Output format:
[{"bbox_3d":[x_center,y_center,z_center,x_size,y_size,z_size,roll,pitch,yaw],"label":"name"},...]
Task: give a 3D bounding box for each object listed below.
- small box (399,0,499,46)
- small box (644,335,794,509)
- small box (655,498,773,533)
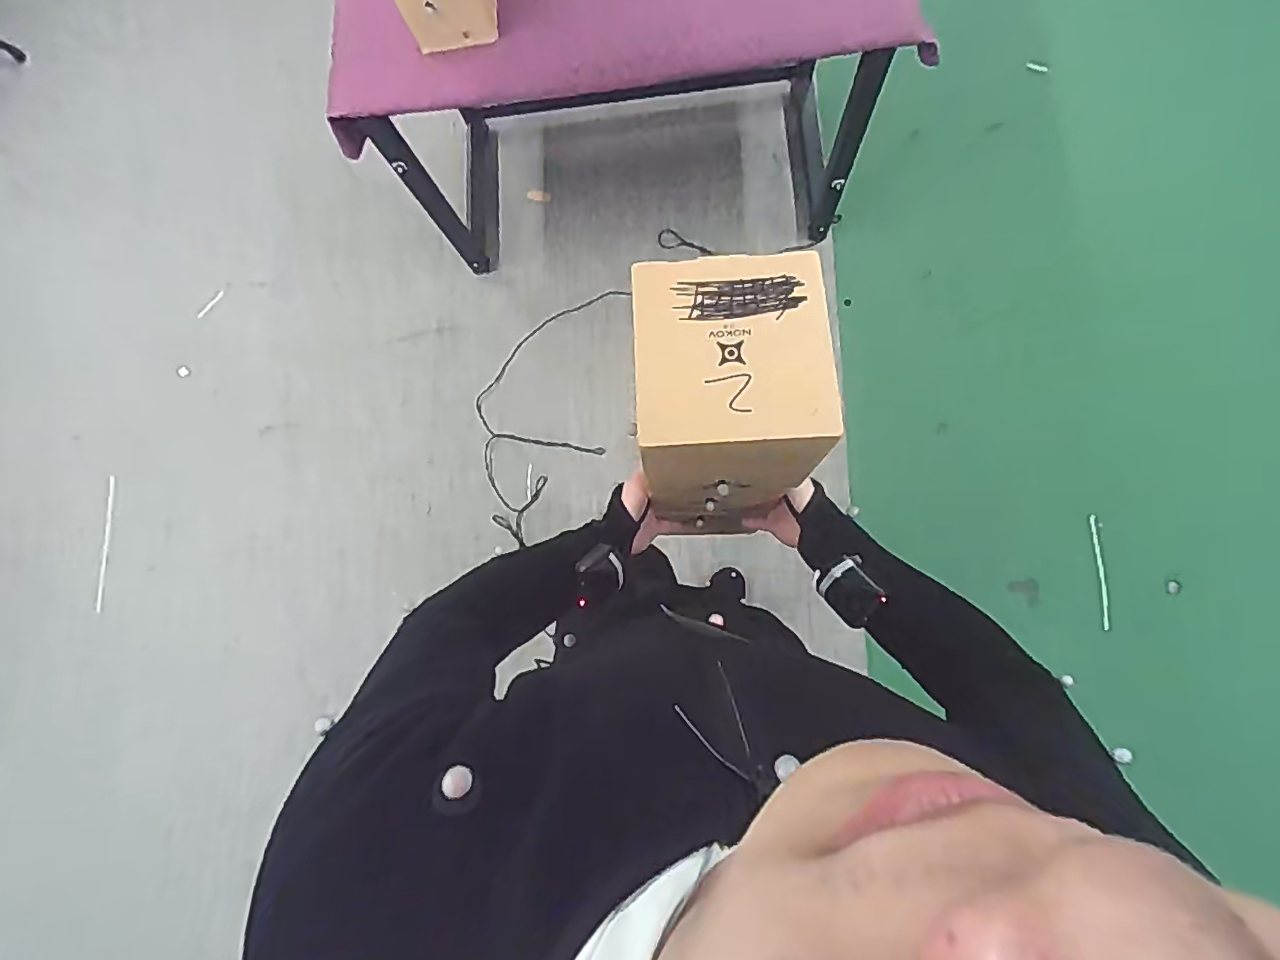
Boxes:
[{"bbox_3d":[-0.387,-1.005,1.068,0.168,0.176,0.179,-6,80,6],"label":"small box"},{"bbox_3d":[0.095,-0.063,0.684,0.168,0.176,0.179,1,74,4],"label":"small box"},{"bbox_3d":[0.108,-0.018,0.844,0.168,0.176,0.179,-1,75,5],"label":"small box"}]
